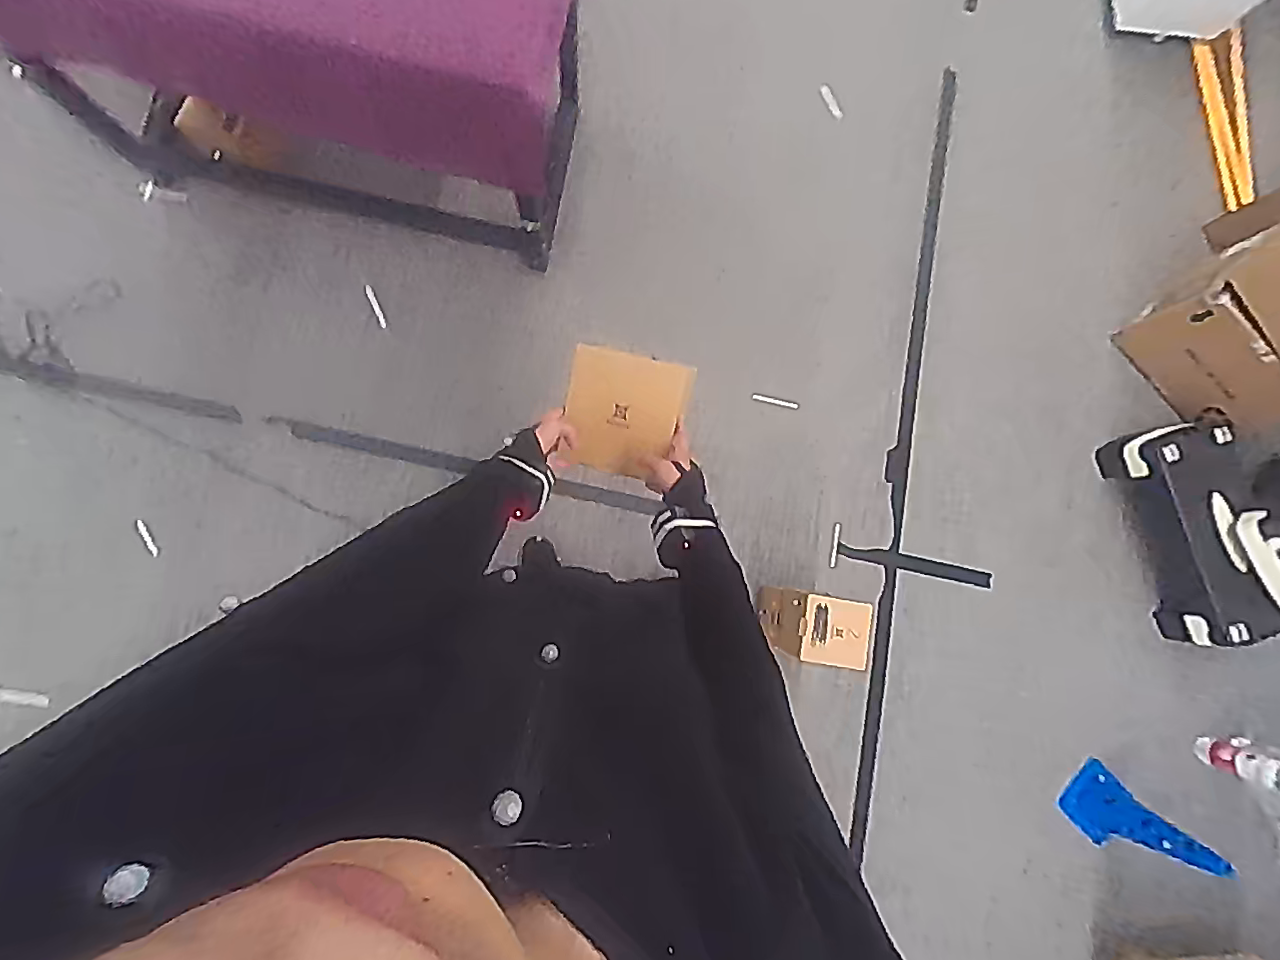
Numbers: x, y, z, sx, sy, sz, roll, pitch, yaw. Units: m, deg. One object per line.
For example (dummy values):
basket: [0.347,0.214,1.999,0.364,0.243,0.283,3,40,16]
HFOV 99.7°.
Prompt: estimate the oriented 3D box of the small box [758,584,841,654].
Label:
small box: [0.465,0.403,1.591,0.179,0.176,0.168,9,84,-4]

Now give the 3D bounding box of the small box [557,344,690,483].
small box: [-0.018,-0.114,0.864,0.168,0.176,0.179,13,106,7]
